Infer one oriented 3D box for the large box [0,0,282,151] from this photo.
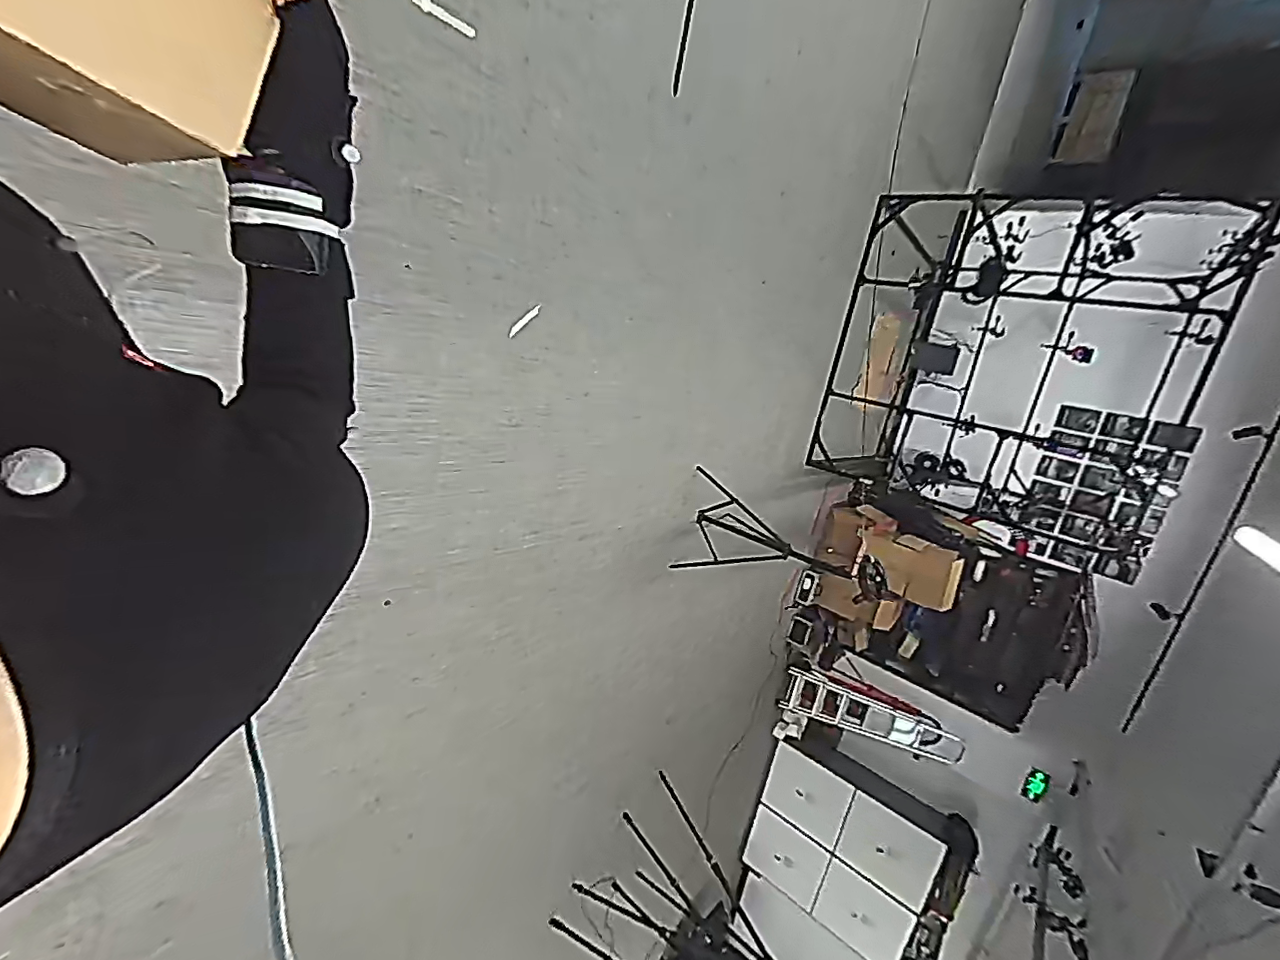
[{"bbox_3d":[-0.452,-0.454,0.289,0.408,0.320,0.320,18,93,-57],"label":"large box"}]
